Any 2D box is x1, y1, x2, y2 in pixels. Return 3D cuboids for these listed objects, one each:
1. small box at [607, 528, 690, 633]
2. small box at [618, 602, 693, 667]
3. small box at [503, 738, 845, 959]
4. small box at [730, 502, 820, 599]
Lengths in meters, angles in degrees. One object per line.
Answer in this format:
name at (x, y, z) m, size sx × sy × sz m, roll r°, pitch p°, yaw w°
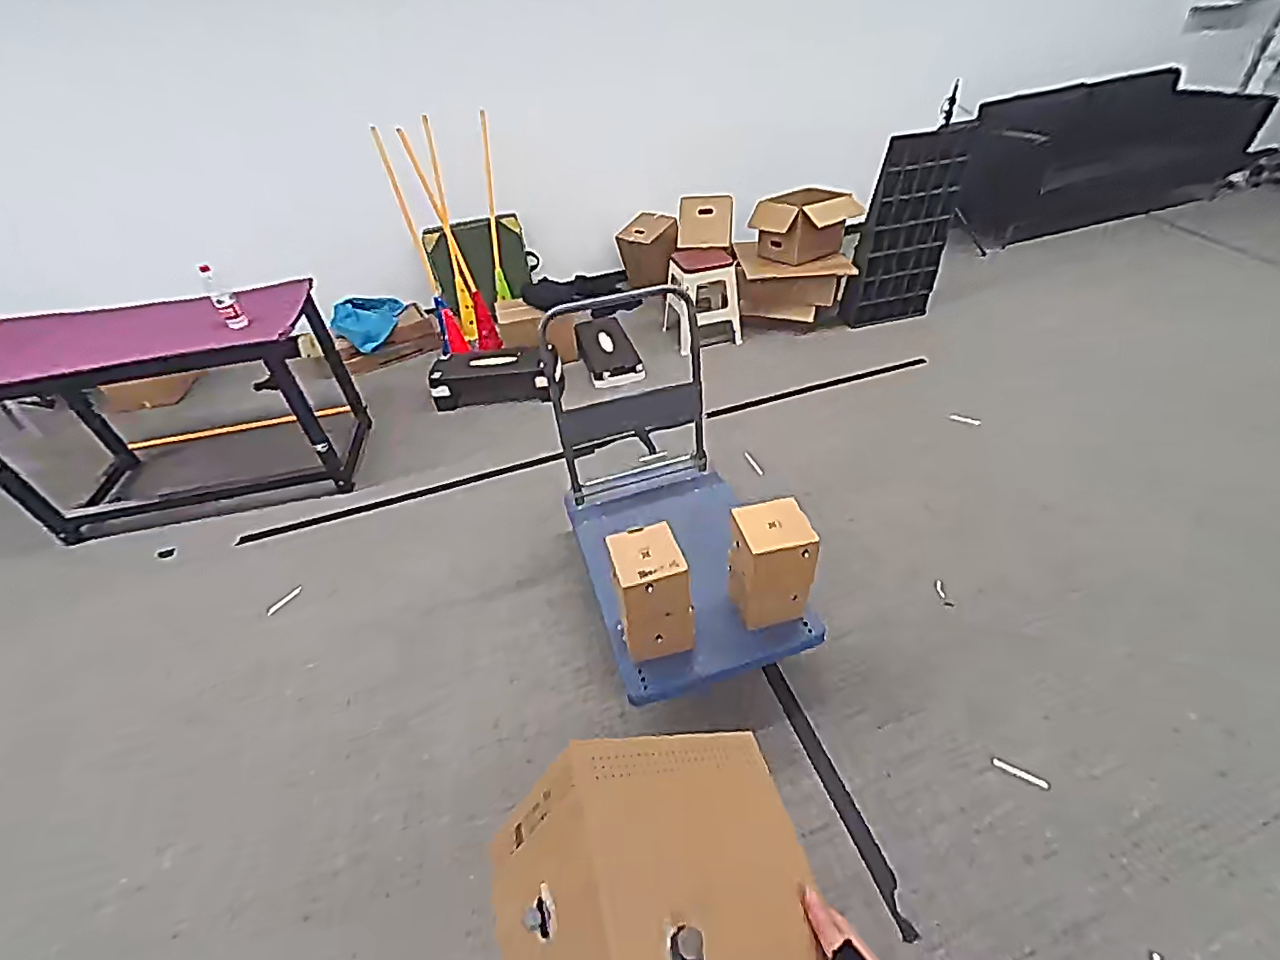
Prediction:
small box at (0.021, 0.252, 1.362) m, size 0.168 × 0.176 × 0.179 m, roll -14°, pitch 40°, yaw -9°
small box at (0.039, 0.378, 1.467) m, size 0.179 × 0.176 × 0.168 m, roll -13°, pitch 40°, yaw -7°
small box at (0.009, 0.314, 0.405) m, size 0.179 × 0.168 × 0.176 m, roll 14°, pitch 35°, yaw -31°
small box at (0.342, 0.186, 1.404) m, size 0.179 × 0.176 × 0.168 m, roll -10°, pitch 40°, yaw -7°
